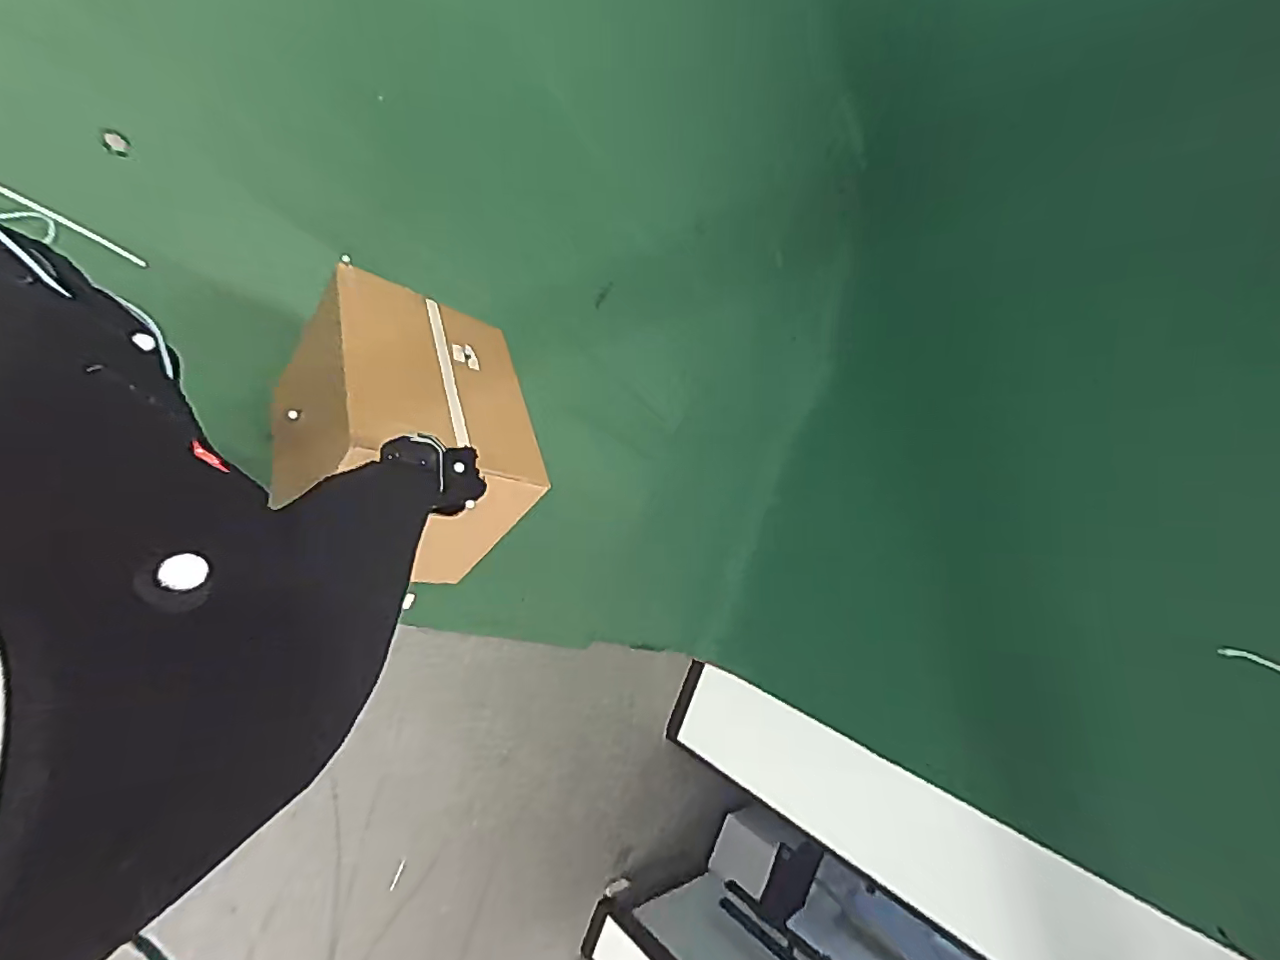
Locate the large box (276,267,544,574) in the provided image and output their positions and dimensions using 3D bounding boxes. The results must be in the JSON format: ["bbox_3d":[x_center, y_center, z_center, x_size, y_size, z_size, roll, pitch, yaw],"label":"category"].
[{"bbox_3d":[-0.427,-0.082,0.965,0.320,0.408,0.320,16,130,-46],"label":"large box"}]
